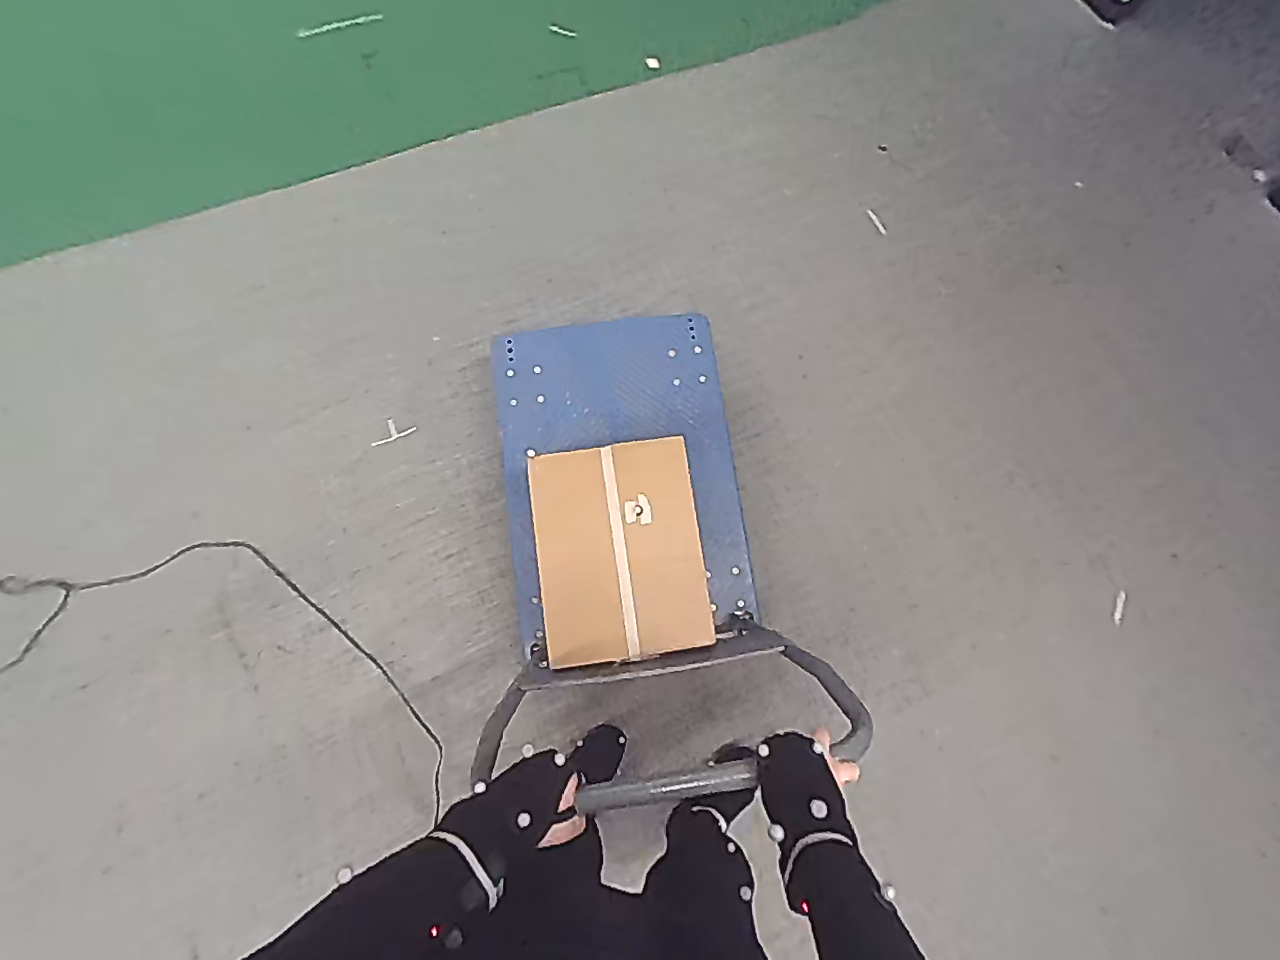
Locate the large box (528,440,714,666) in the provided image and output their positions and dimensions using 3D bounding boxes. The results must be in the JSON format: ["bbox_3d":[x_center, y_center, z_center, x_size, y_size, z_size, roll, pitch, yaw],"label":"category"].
[{"bbox_3d":[-0.044,0.163,1.196,0.320,0.320,0.408,-8,79,-4],"label":"large box"}]
